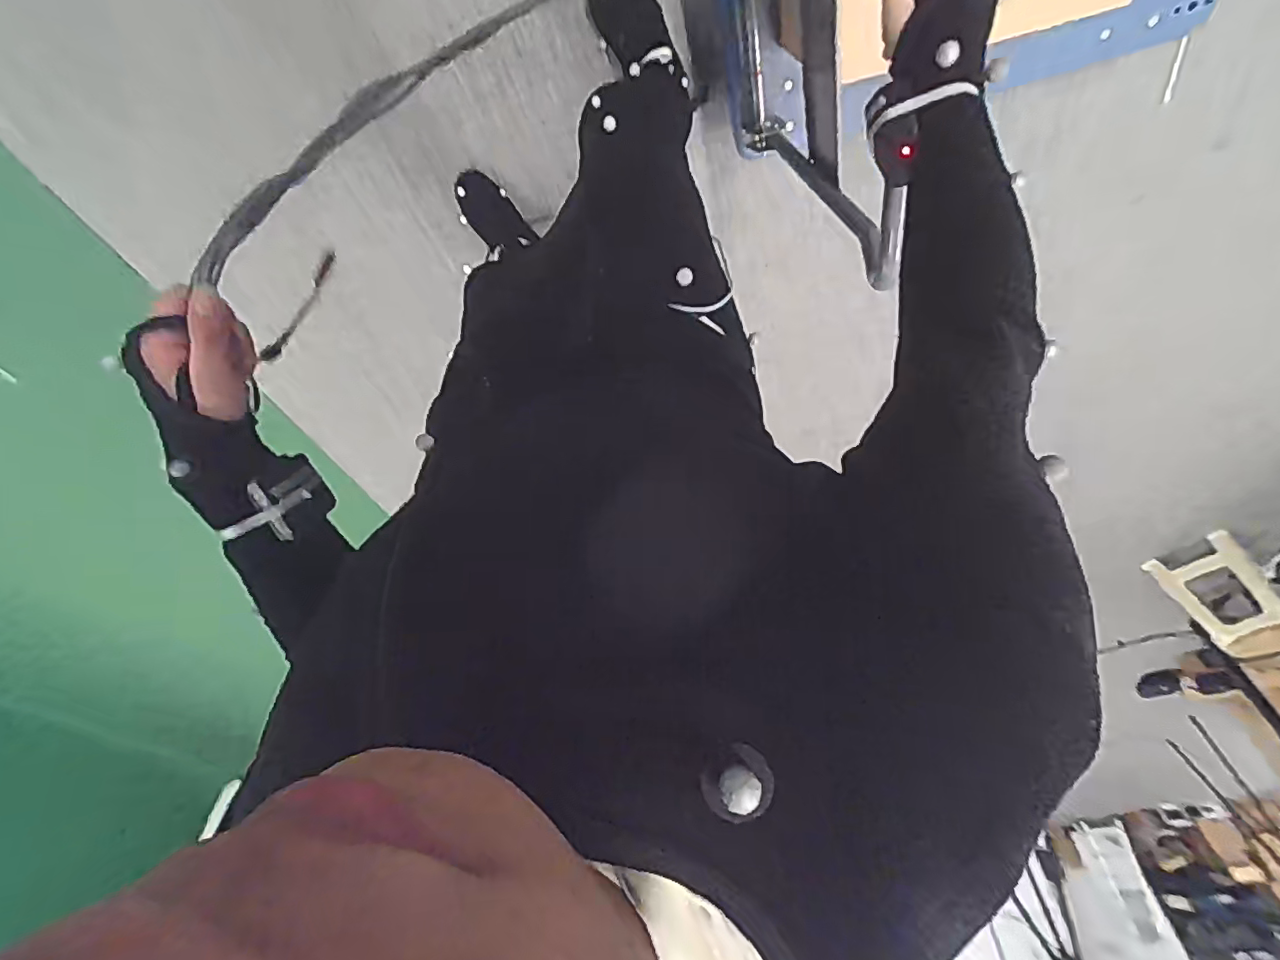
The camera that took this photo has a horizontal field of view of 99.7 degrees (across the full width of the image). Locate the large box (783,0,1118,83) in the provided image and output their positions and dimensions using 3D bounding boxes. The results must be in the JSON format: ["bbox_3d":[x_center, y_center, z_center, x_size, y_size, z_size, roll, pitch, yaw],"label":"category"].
[{"bbox_3d":[0.427,-0.824,0.757,0.408,0.320,0.320,-11,137,7],"label":"large box"}]
